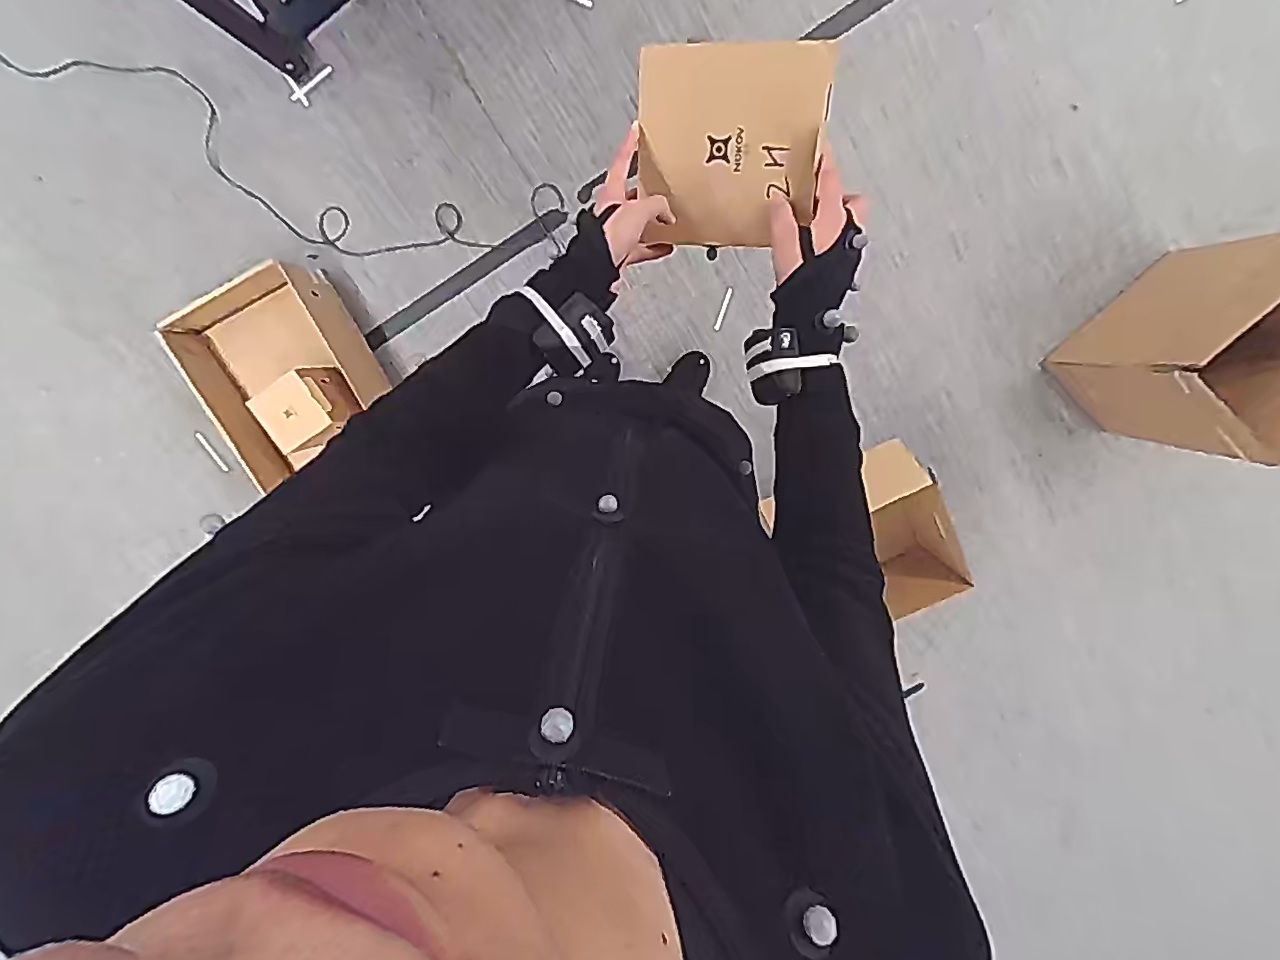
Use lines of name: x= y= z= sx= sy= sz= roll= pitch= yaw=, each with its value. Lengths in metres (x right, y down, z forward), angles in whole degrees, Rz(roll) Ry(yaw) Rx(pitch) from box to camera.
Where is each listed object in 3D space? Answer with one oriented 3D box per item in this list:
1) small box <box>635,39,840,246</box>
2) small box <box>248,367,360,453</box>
small box: x=0.098 y=-0.344 z=0.577 sx=0.179 sy=0.176 sz=0.168 roll=6 pitch=116 yaw=9
small box: x=-0.907 y=-0.200 z=1.487 sx=0.179 sy=0.176 sz=0.168 roll=-30 pitch=100 yaw=9
